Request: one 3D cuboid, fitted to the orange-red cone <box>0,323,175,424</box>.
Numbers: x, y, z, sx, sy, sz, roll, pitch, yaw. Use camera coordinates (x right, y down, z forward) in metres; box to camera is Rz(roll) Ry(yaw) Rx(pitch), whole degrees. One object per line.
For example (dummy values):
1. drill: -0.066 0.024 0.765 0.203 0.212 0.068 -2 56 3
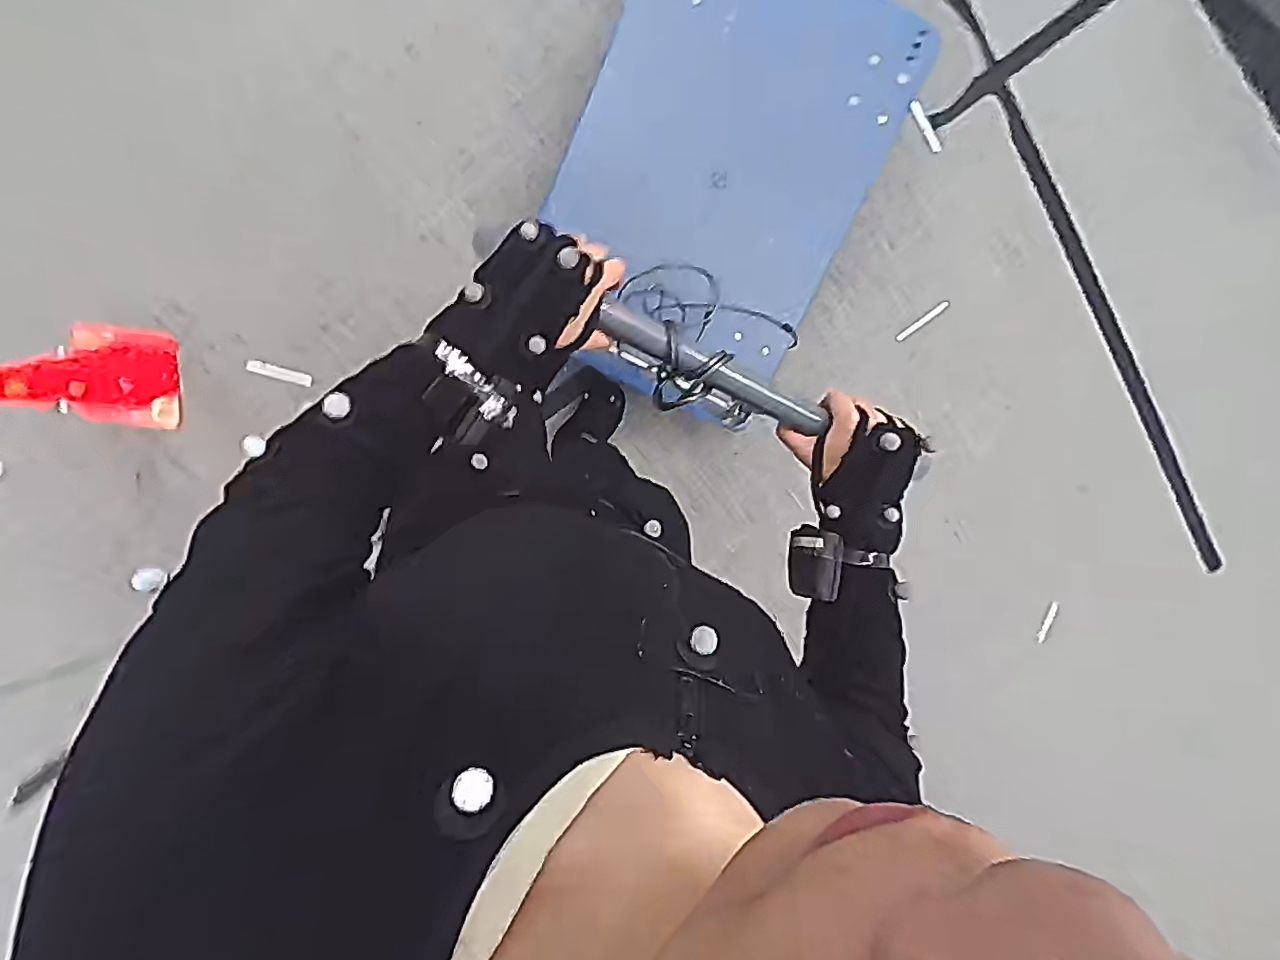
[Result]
1. orange-red cone: -1.095 -0.186 1.006 0.199 0.360 0.198 7 103 -10
